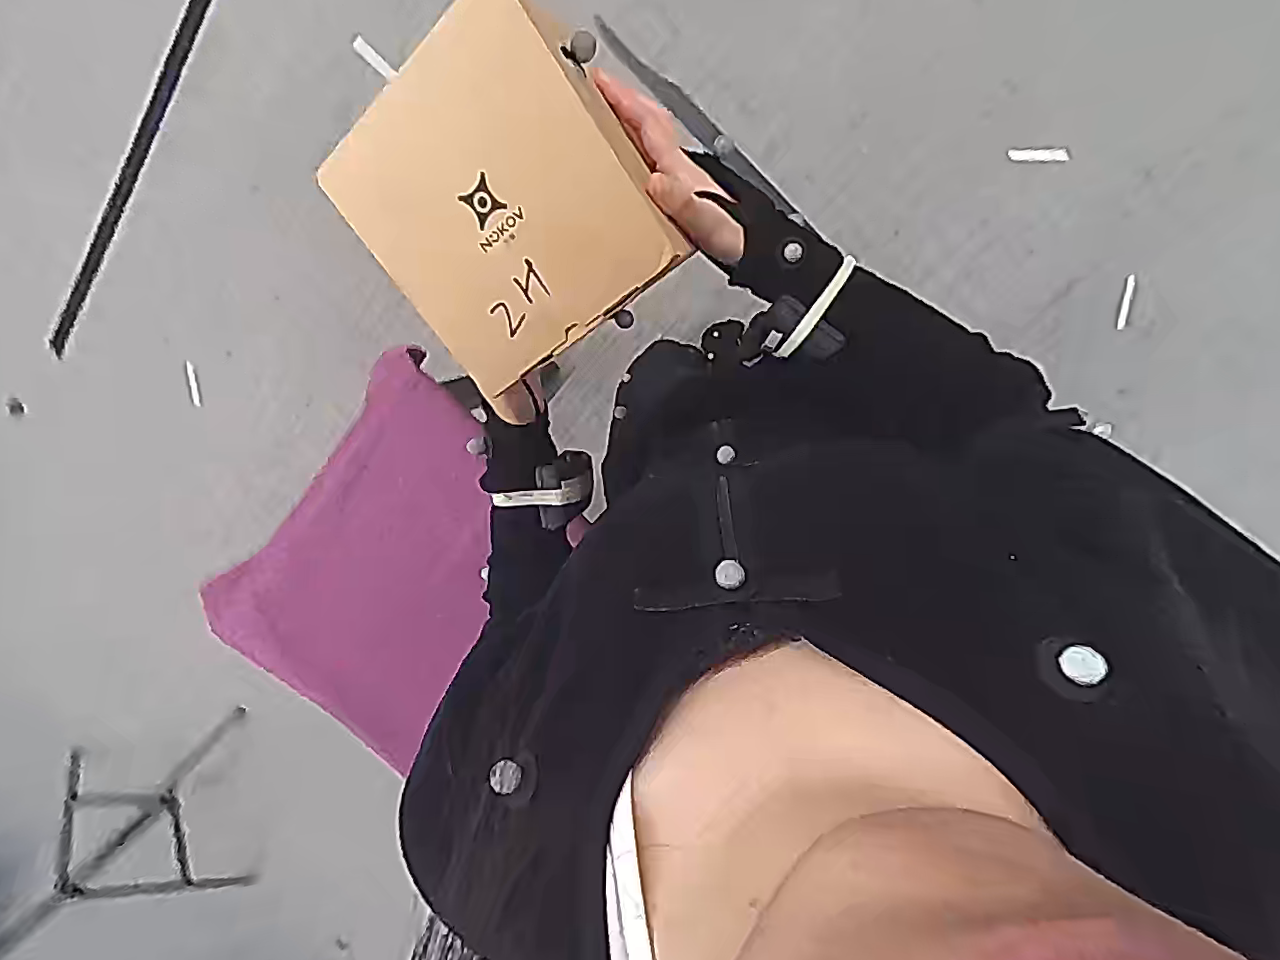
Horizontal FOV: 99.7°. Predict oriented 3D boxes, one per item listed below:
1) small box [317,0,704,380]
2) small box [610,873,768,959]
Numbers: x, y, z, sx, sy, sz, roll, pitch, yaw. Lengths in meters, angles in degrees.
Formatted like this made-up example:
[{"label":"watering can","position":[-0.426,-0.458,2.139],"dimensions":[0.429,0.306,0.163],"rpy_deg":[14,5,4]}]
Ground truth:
[{"label":"small box","position":[-0.070,-0.203,0.390],"dimensions":[0.168,0.176,0.179],"rpy_deg":[-28,107,24]},{"label":"small box","position":[0.063,0.683,0.722],"dimensions":[0.168,0.176,0.179],"rpy_deg":[42,109,-6]}]
